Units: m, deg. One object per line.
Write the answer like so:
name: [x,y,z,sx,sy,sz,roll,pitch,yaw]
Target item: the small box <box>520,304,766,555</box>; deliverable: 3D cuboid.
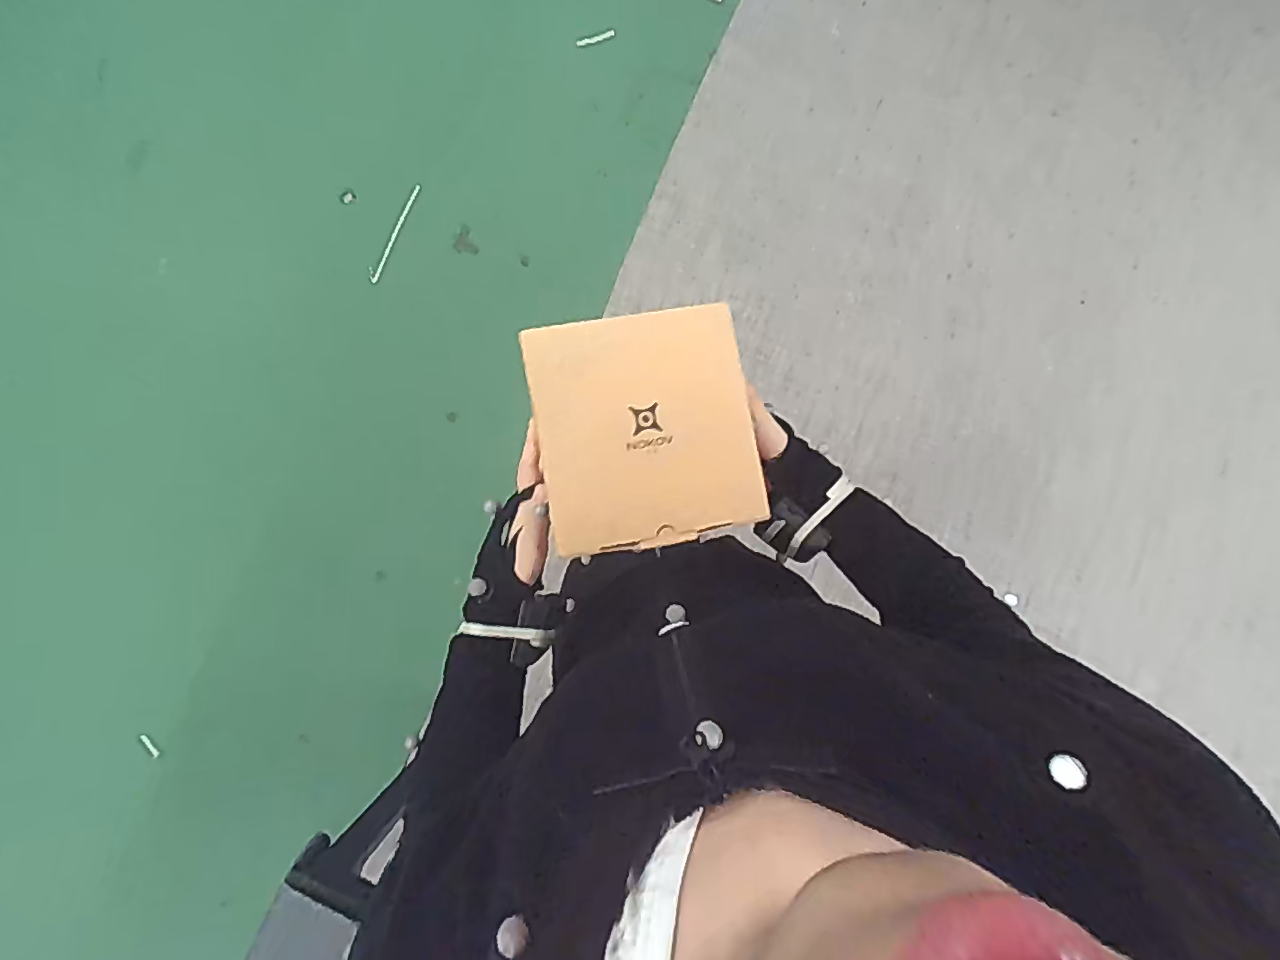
small box: [-0.007,-0.034,0.493,0.168,0.176,0.179,-11,86,-7]
